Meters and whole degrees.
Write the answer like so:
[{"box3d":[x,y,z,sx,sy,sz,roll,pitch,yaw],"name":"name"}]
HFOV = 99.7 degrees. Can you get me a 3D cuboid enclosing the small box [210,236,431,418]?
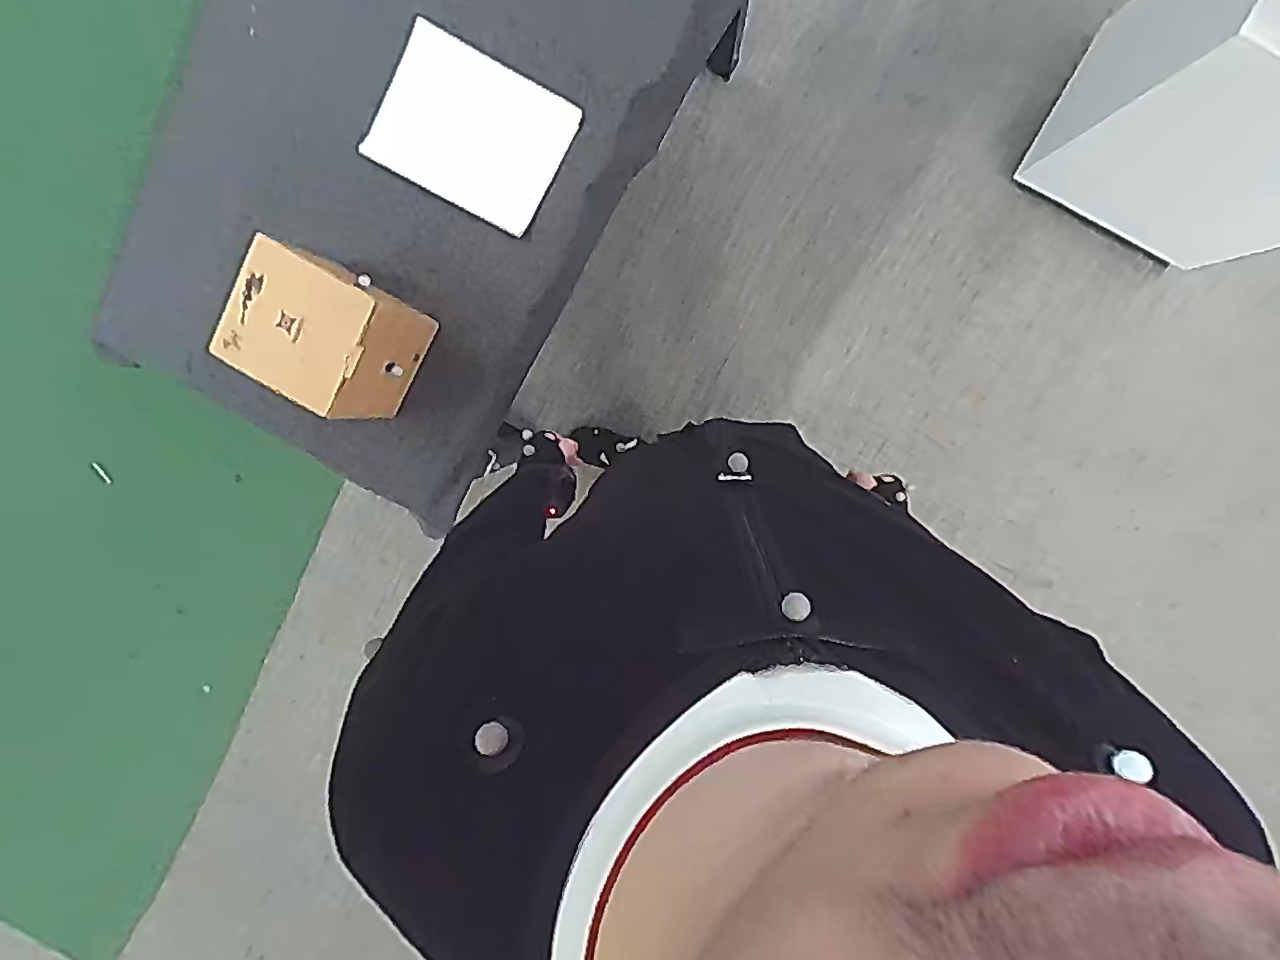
[{"box3d":[-0.427,-0.202,0.753,0.179,0.176,0.168,29,98,-1],"name":"small box"}]
